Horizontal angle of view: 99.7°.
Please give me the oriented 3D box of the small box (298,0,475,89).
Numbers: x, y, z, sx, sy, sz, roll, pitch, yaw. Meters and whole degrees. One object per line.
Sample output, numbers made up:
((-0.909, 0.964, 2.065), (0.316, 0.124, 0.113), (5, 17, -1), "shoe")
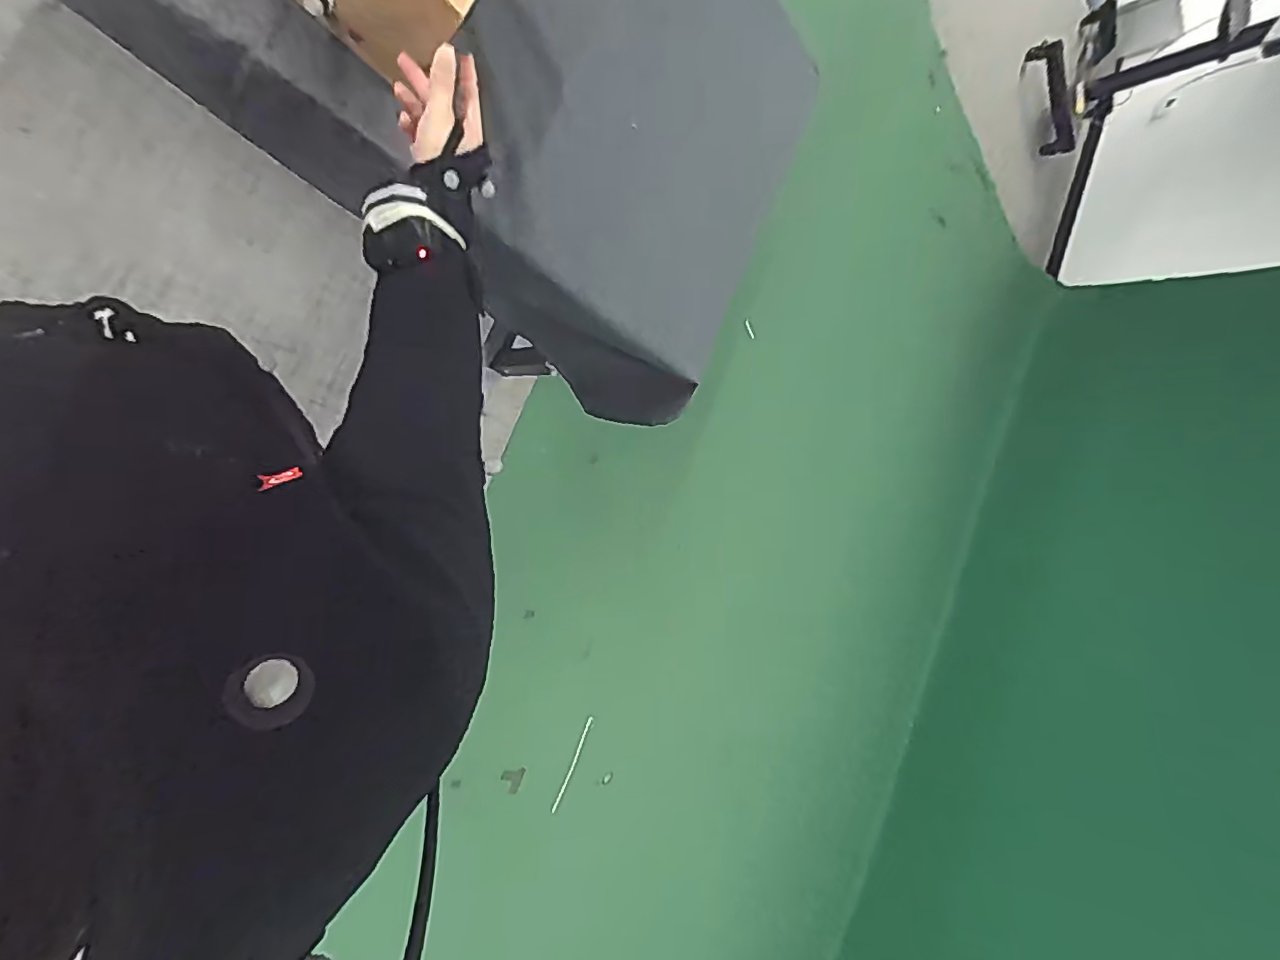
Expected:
((-0.211, -0.493, 0.458), (0.168, 0.176, 0.179), (30, 79, -37), "small box")
